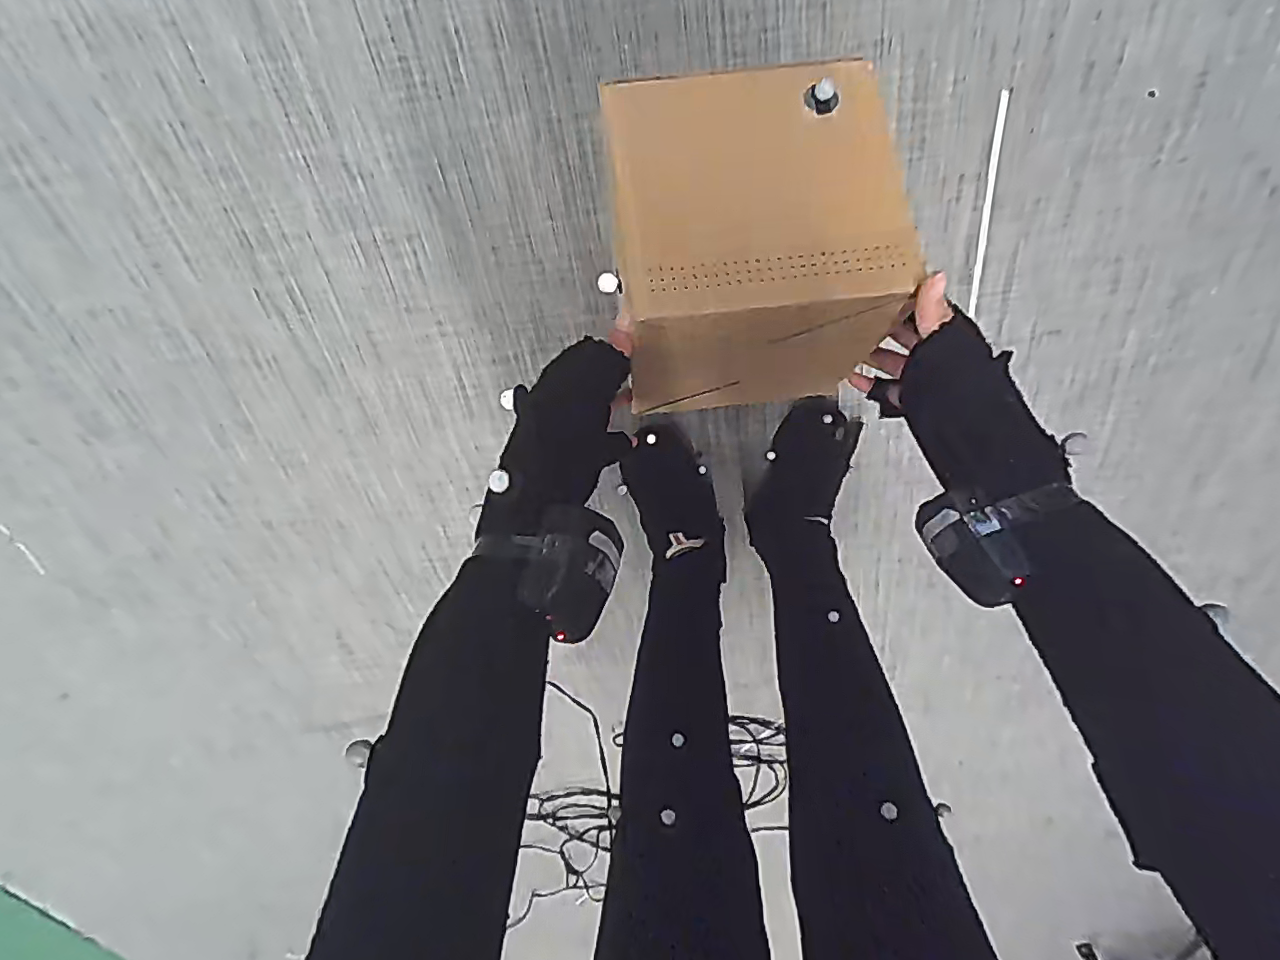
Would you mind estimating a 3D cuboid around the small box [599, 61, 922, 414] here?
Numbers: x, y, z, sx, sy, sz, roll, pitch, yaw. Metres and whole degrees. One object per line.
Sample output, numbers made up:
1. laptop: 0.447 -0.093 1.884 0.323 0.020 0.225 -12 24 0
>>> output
1. small box: 0.071 -0.155 0.397 0.179 0.168 0.176 -7 79 -2
